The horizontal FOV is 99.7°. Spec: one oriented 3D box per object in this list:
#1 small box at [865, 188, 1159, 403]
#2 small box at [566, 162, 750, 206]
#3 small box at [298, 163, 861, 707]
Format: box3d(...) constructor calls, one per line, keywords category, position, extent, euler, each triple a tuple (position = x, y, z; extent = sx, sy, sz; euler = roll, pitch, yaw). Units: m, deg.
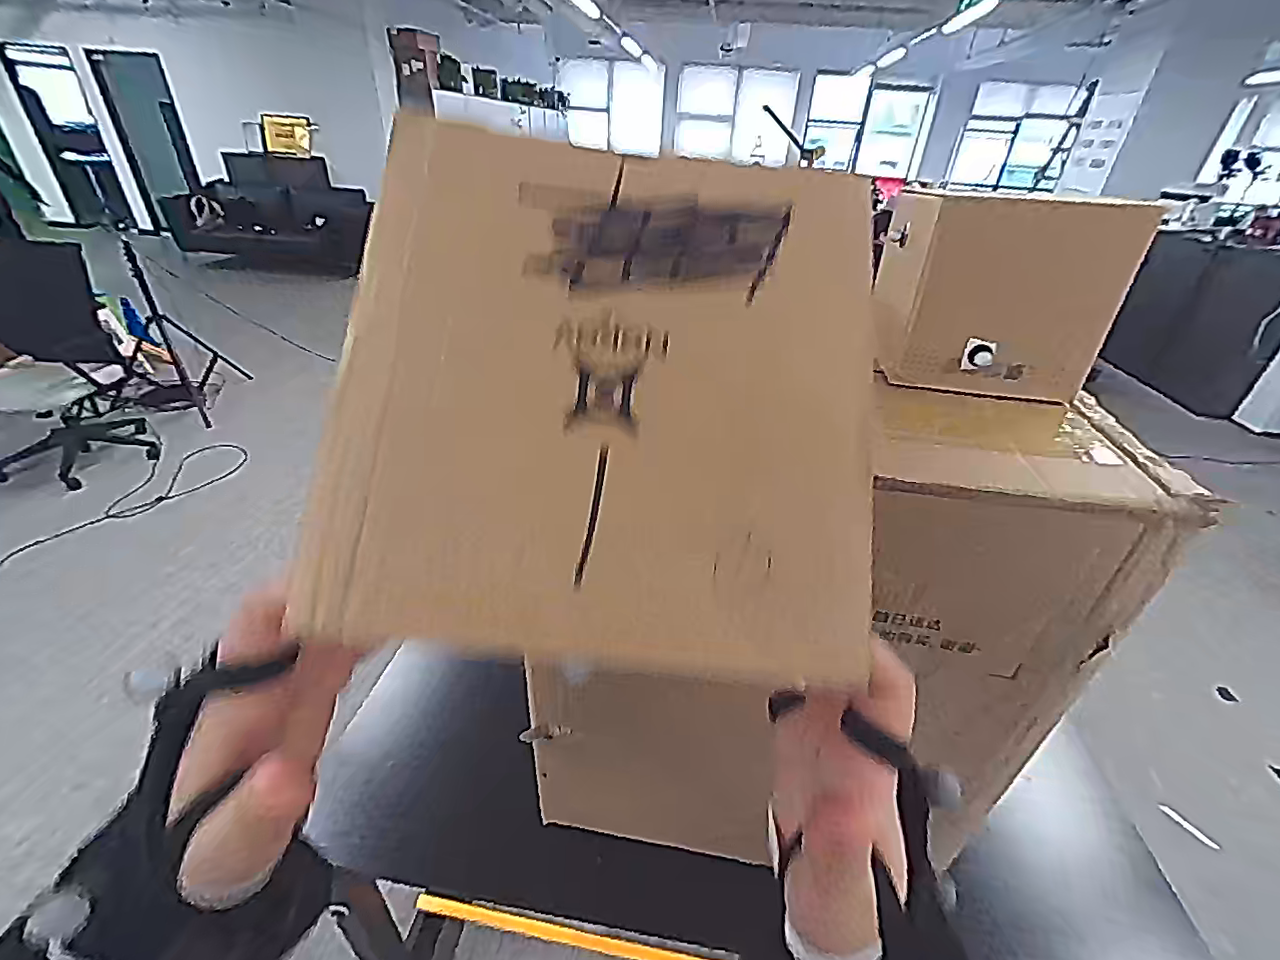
box3d(category="small box", position=(0.340, -0.192, 0.544), extent=(0.168, 0.176, 0.179), euler=(6, 31, 9))
box3d(category="small box", position=(0.018, -0.237, 0.582), extent=(0.168, 0.176, 0.179), euler=(6, 32, 1))
box3d(category="small box", position=(-0.014, -0.004, 0.255), extent=(0.168, 0.176, 0.179), euler=(6, 75, -2))
